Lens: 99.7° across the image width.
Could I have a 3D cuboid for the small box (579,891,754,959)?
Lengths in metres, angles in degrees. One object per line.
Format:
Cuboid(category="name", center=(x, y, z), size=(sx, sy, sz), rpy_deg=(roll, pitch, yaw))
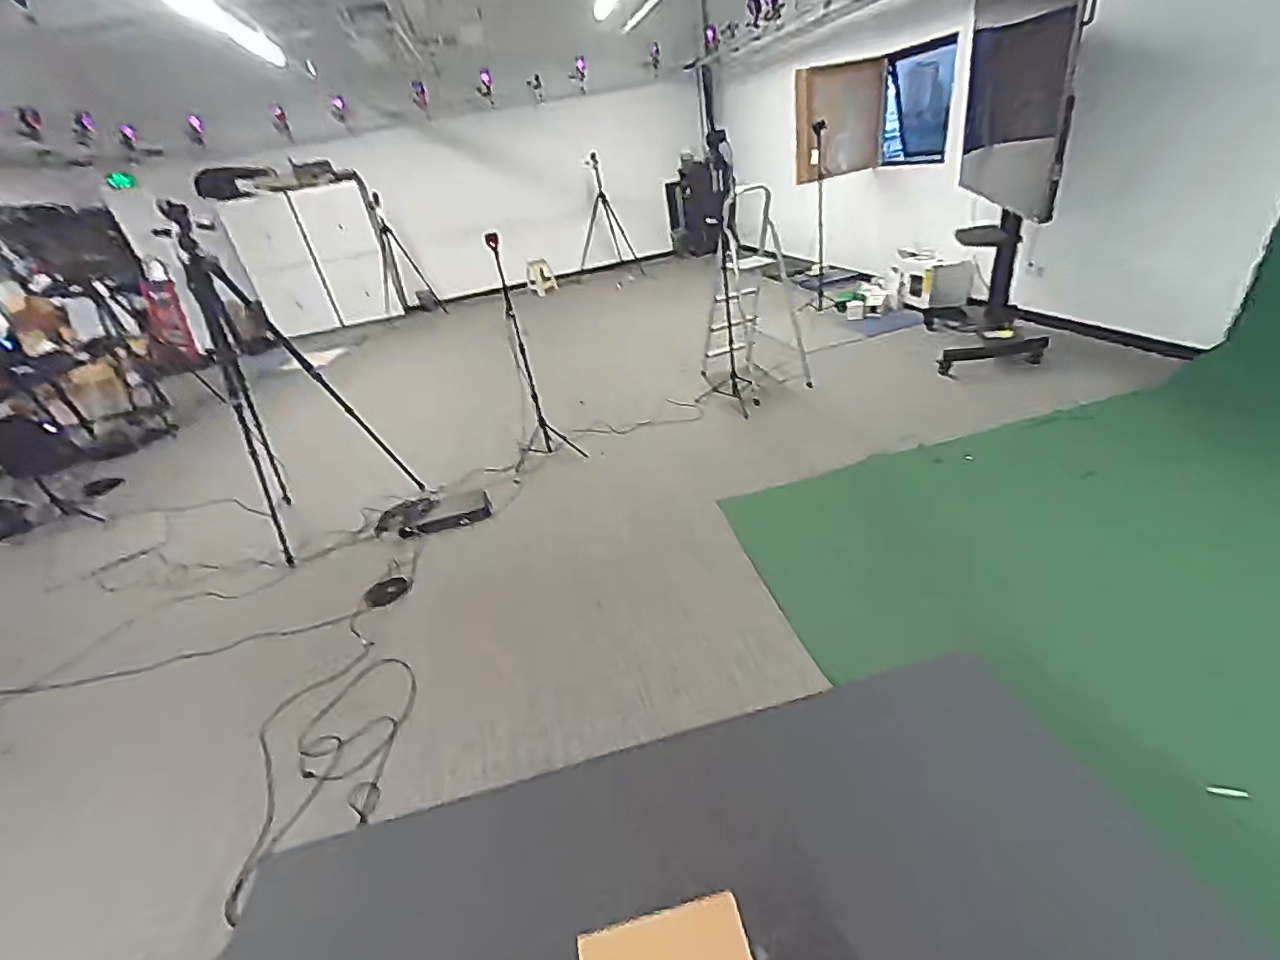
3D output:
Cuboid(category="small box", center=(0.043, 0.542, 0.504), size=(0.168, 0.176, 0.179), rpy_deg=(-13, 28, -4))
